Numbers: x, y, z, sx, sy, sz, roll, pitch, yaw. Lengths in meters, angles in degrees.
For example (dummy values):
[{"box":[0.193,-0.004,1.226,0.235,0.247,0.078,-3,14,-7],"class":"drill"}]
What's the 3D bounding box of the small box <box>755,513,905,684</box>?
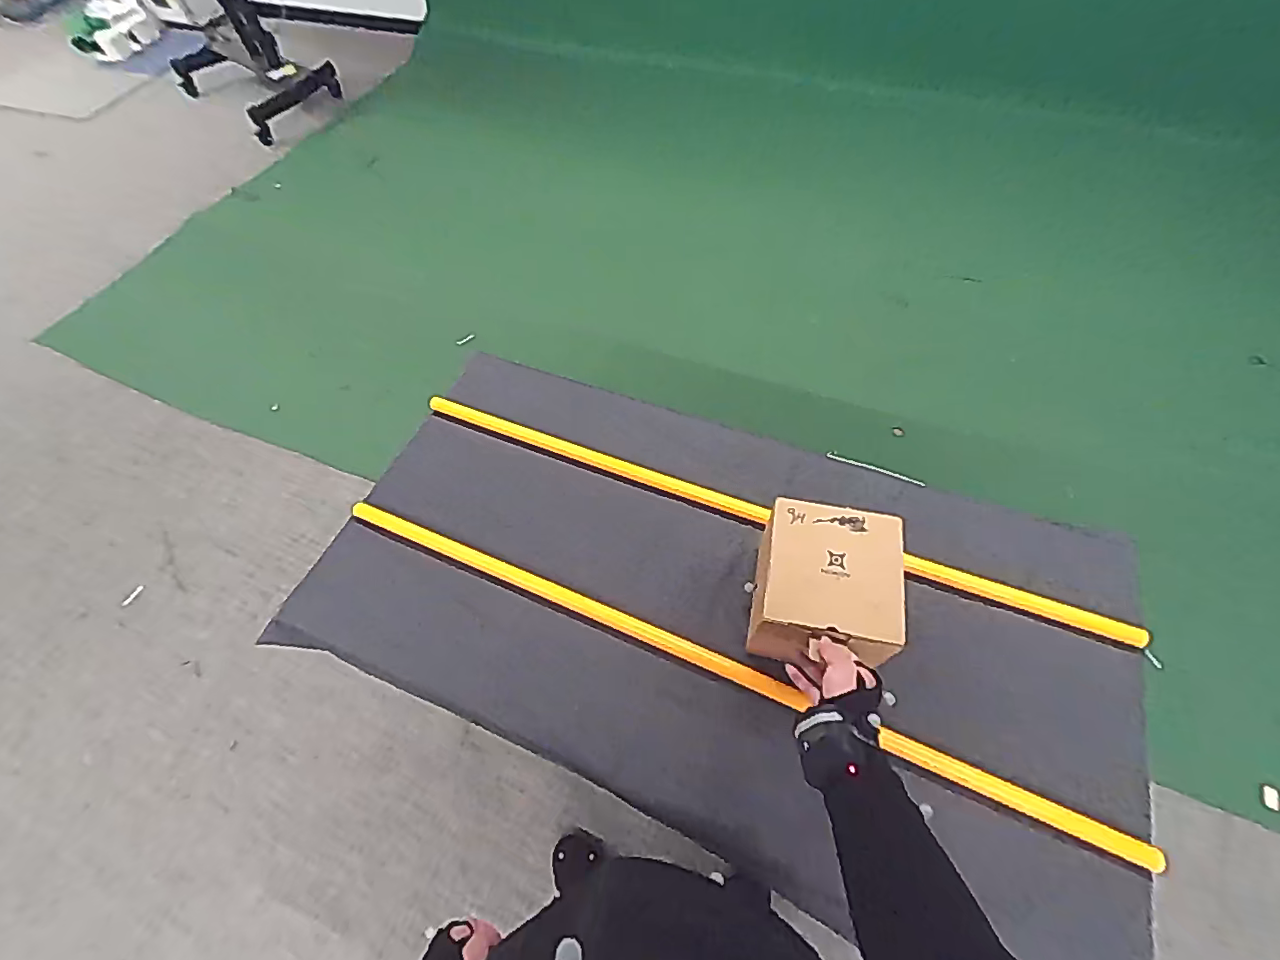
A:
[{"box":[0.255,0.169,0.751,0.168,0.176,0.179,7,59,10],"class":"small box"}]
